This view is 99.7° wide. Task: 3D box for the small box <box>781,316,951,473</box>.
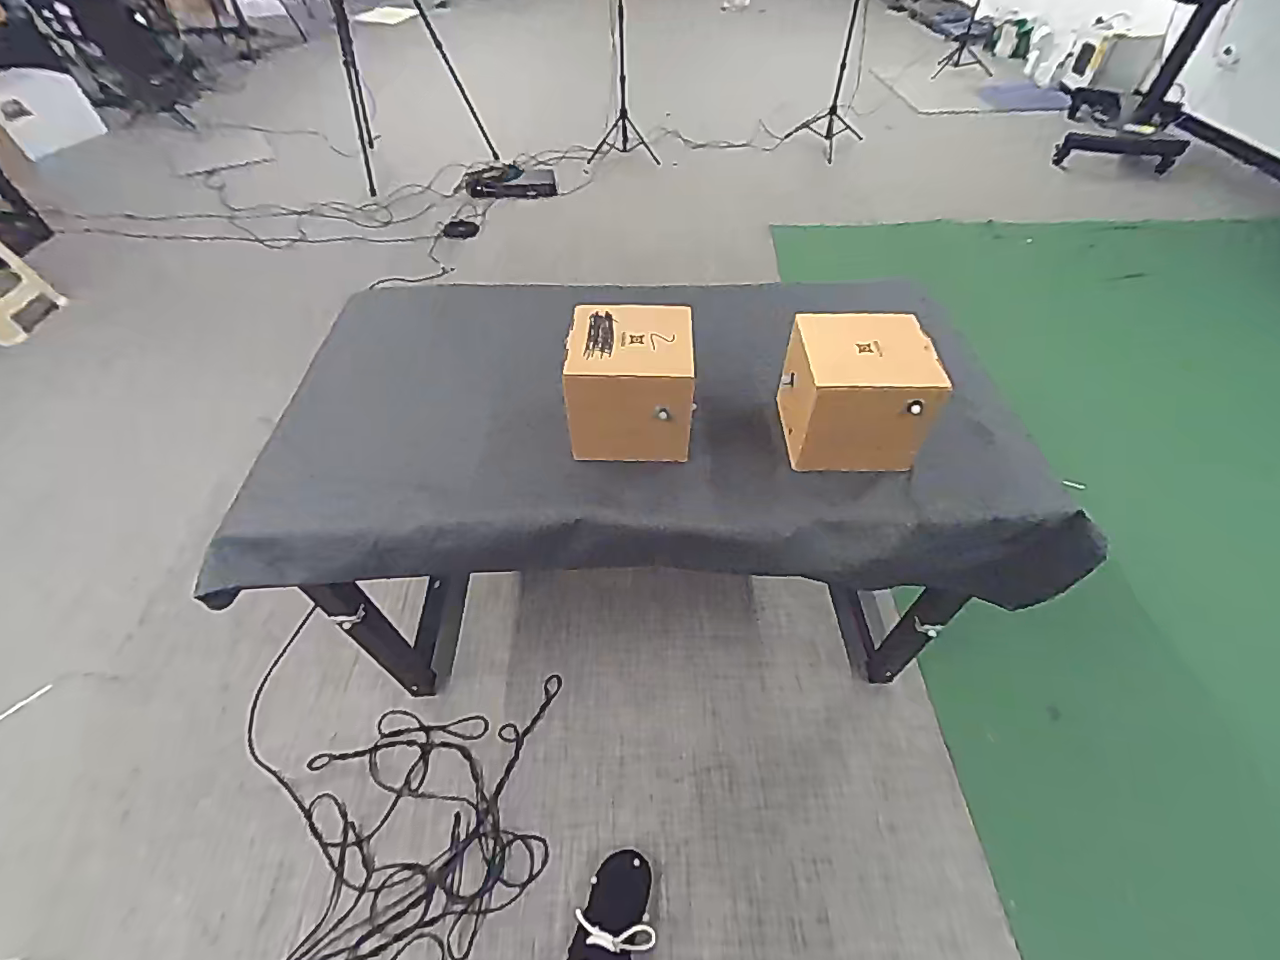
[{"bbox_3d":[0.312,-0.123,0.797,0.179,0.176,0.168,0,50,1],"label":"small box"}]
